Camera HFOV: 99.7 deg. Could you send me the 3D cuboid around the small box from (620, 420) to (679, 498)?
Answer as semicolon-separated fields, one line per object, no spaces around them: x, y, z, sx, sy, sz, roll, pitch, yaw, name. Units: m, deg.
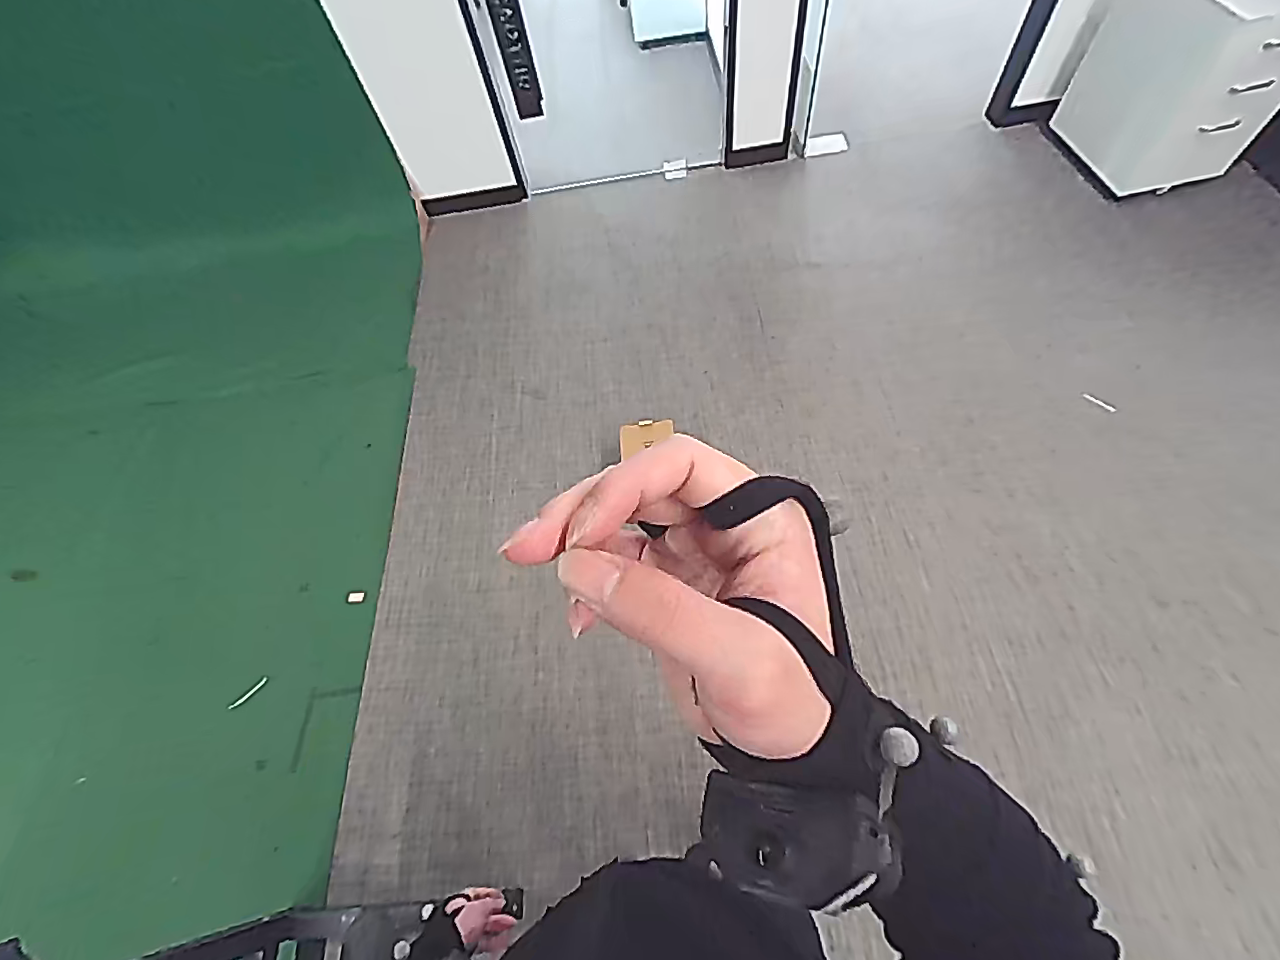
0.031;-0.062;1.667;0.168;0.176;0.179;-6;61;7;small box
